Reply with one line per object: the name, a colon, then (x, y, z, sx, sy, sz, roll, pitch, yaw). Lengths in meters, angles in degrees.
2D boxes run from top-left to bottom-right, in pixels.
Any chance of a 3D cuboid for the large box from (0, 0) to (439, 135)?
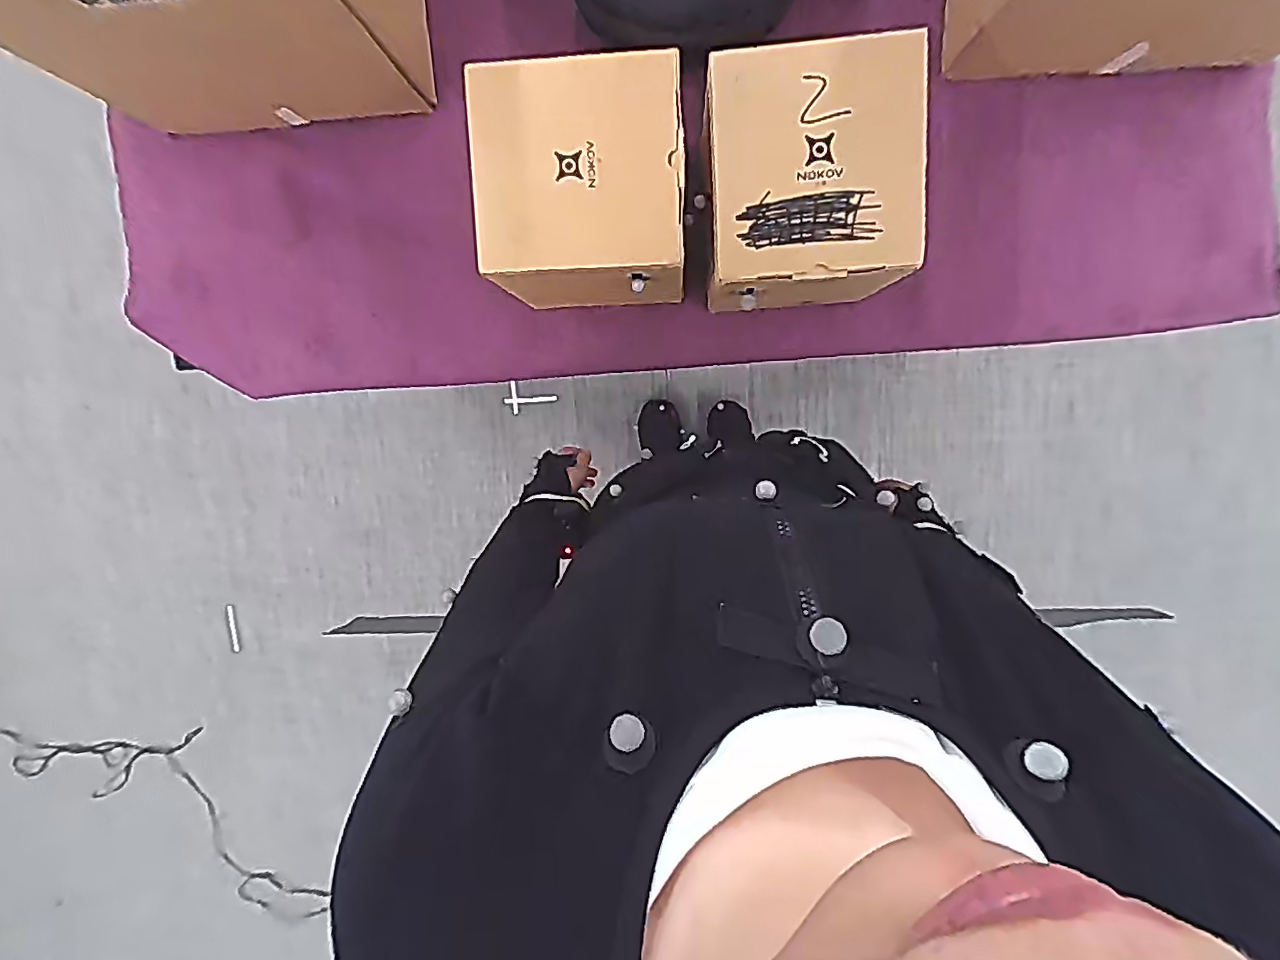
large box: (-0.390, -0.565, 0.424, 0.320, 0.320, 0.408, -4, 101, 3)
